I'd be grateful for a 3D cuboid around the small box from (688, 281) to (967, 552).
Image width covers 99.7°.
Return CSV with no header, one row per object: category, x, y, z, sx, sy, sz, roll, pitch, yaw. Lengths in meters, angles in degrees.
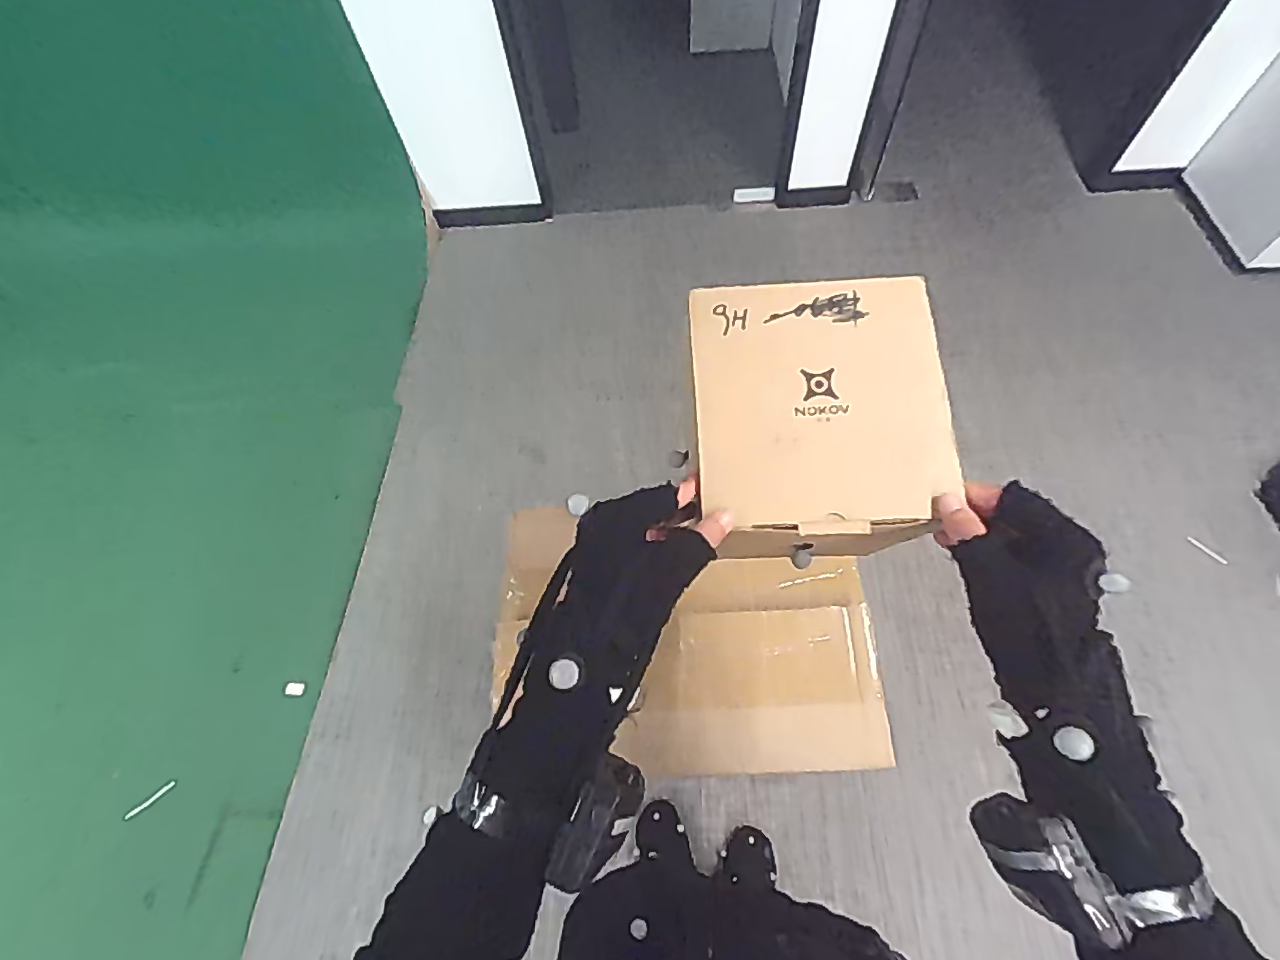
small box,0.127,-0.034,0.440,0.168,0.176,0.179,-2,76,2
